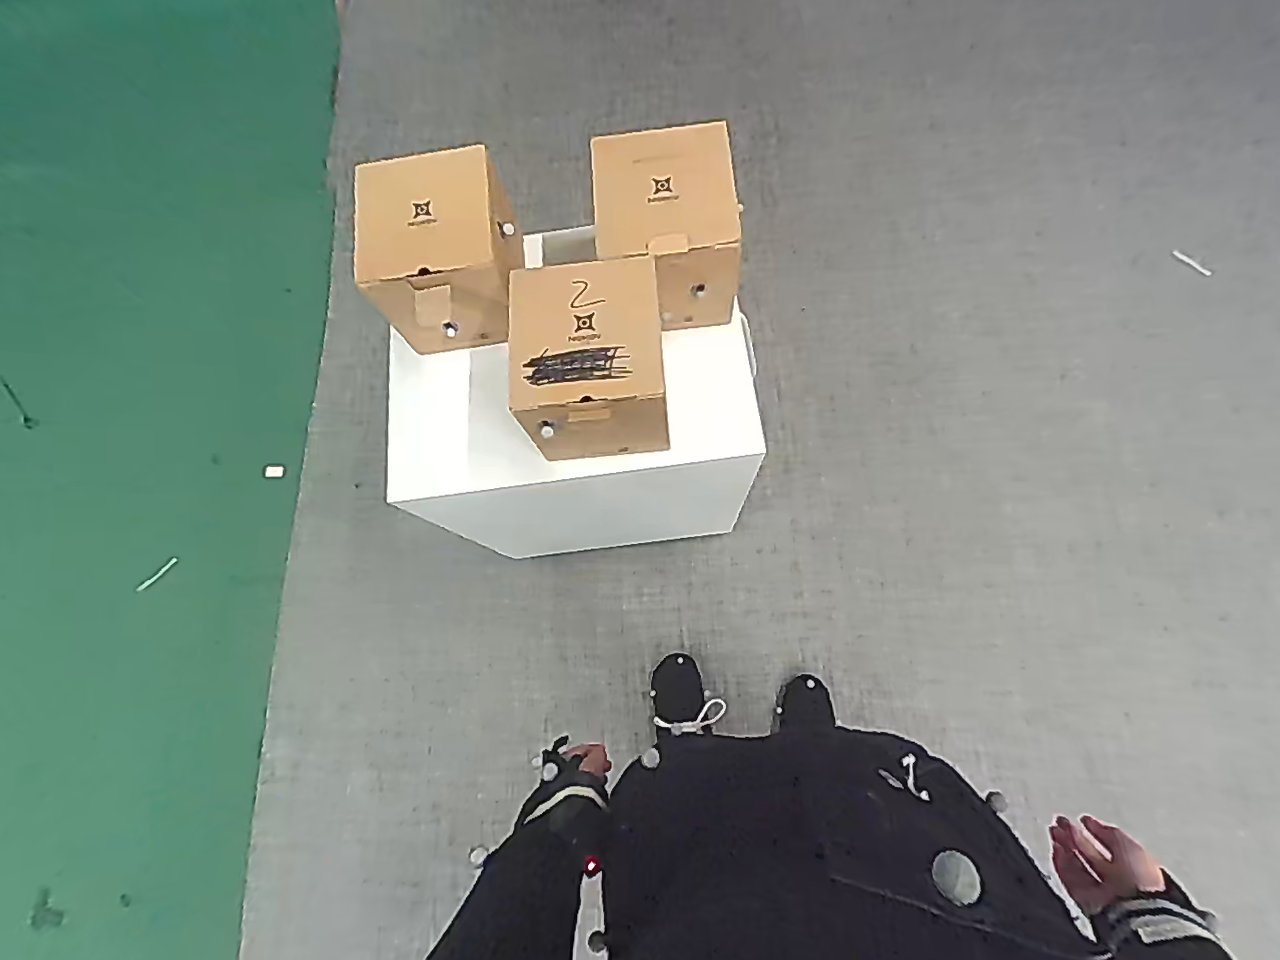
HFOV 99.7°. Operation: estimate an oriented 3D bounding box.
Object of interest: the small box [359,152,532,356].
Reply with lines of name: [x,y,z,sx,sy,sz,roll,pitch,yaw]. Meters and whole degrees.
small box: [-0.249,-0.291,0.722,0.168,0.176,0.179,-8,75,2]
